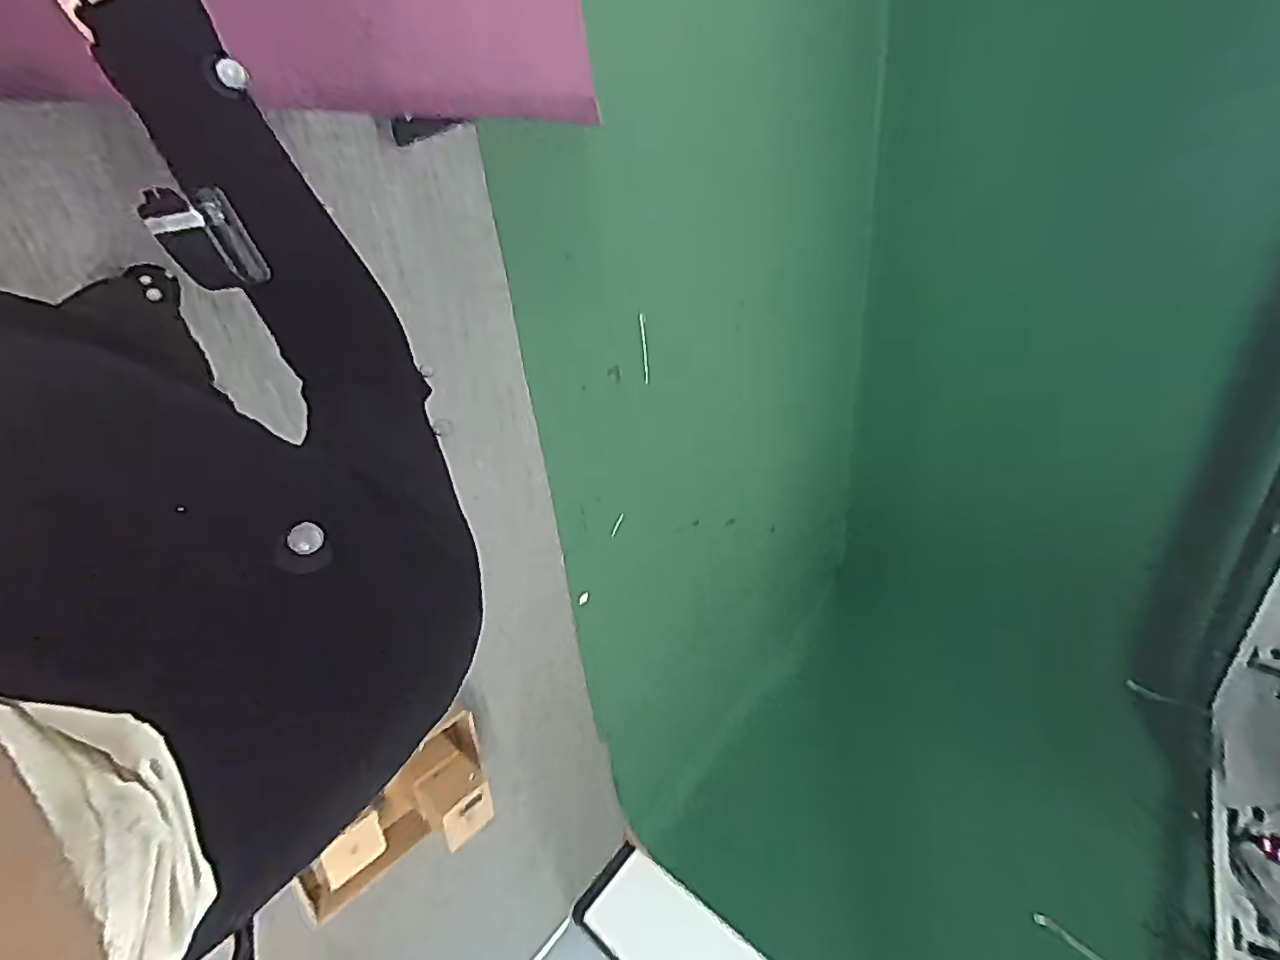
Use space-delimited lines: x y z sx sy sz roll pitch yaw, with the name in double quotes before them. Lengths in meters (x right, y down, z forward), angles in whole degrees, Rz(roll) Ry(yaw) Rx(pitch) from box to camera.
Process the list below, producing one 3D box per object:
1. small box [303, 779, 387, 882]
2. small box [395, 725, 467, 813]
"small box" -0.930 1.096 1.703 0.168 0.176 0.179 -24 121 -43
"small box" -0.734 1.007 1.899 0.168 0.176 0.179 -25 123 -42
